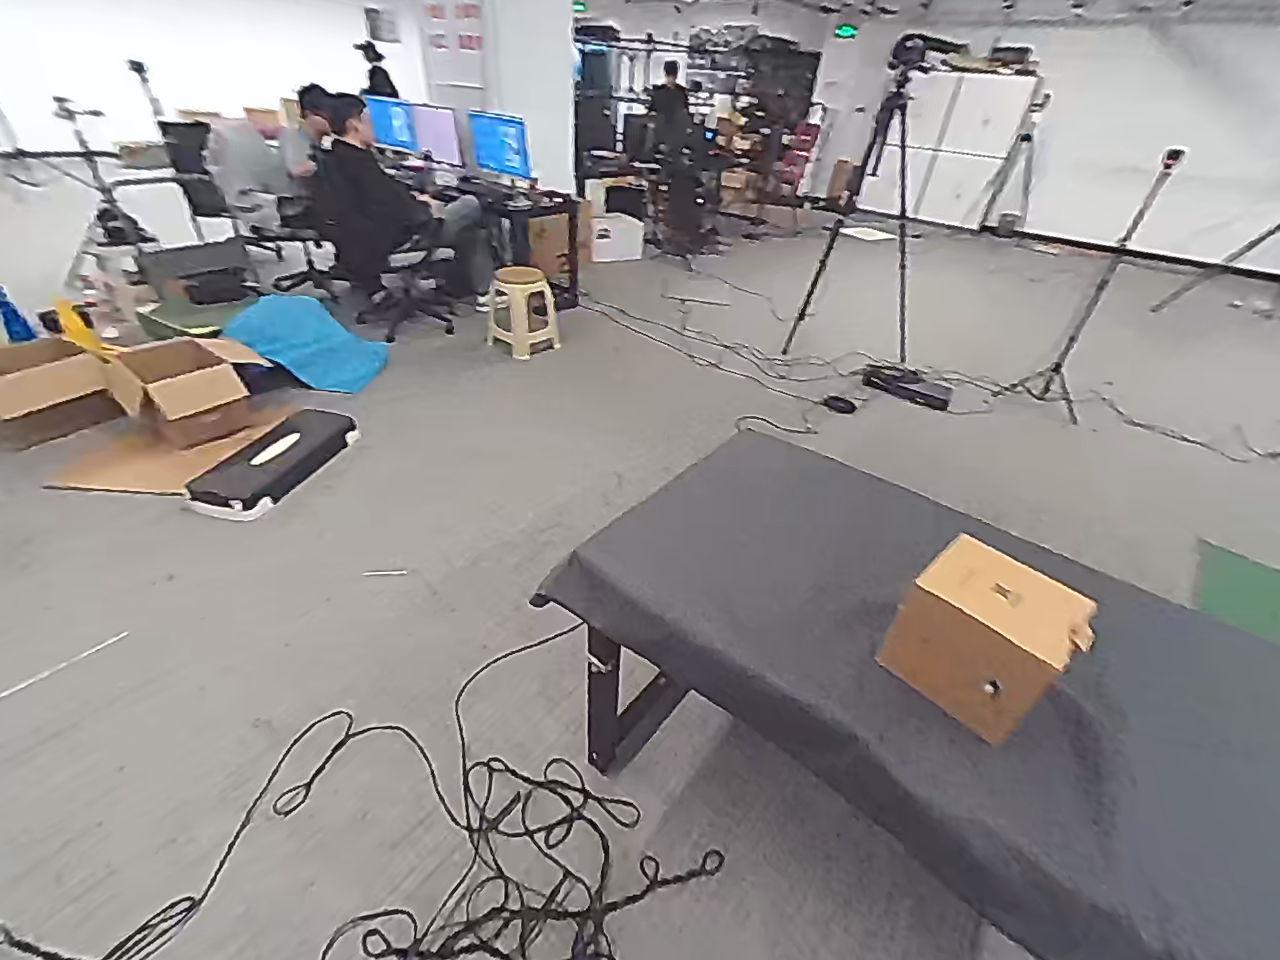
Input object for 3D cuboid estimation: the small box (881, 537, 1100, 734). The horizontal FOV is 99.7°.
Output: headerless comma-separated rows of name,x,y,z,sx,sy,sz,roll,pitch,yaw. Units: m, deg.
small box,0.472,0.216,0.746,0.168,0.176,0.179,-24,44,-36
